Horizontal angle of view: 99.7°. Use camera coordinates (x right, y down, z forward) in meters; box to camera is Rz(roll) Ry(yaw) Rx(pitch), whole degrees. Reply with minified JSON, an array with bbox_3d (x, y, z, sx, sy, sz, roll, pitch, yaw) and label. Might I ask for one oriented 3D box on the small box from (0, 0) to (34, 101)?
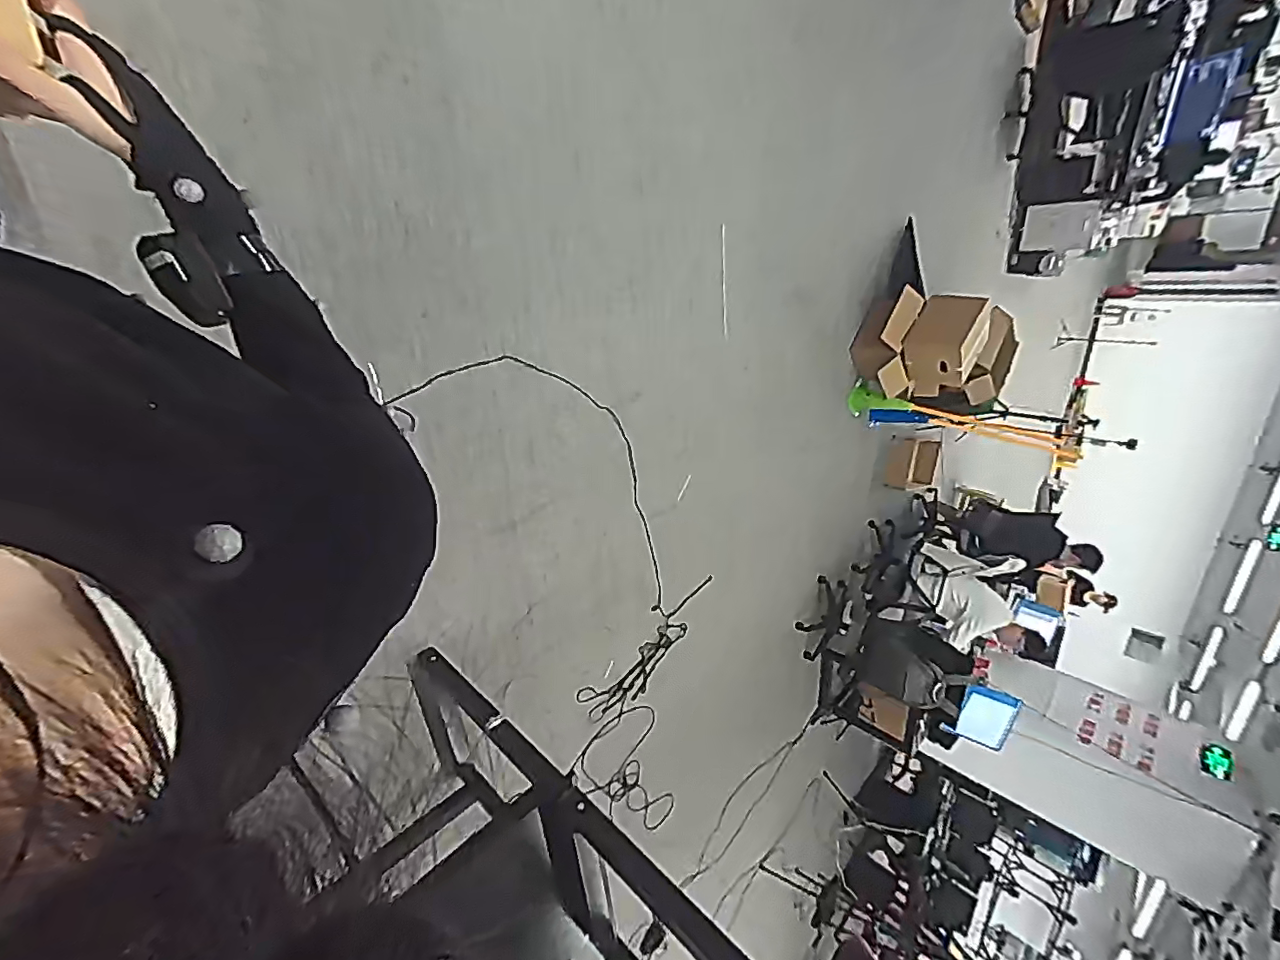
[{"bbox_3d":[-0.479,-0.338,0.294,0.168,0.176,0.179,-22,118,-45],"label":"small box"}]
